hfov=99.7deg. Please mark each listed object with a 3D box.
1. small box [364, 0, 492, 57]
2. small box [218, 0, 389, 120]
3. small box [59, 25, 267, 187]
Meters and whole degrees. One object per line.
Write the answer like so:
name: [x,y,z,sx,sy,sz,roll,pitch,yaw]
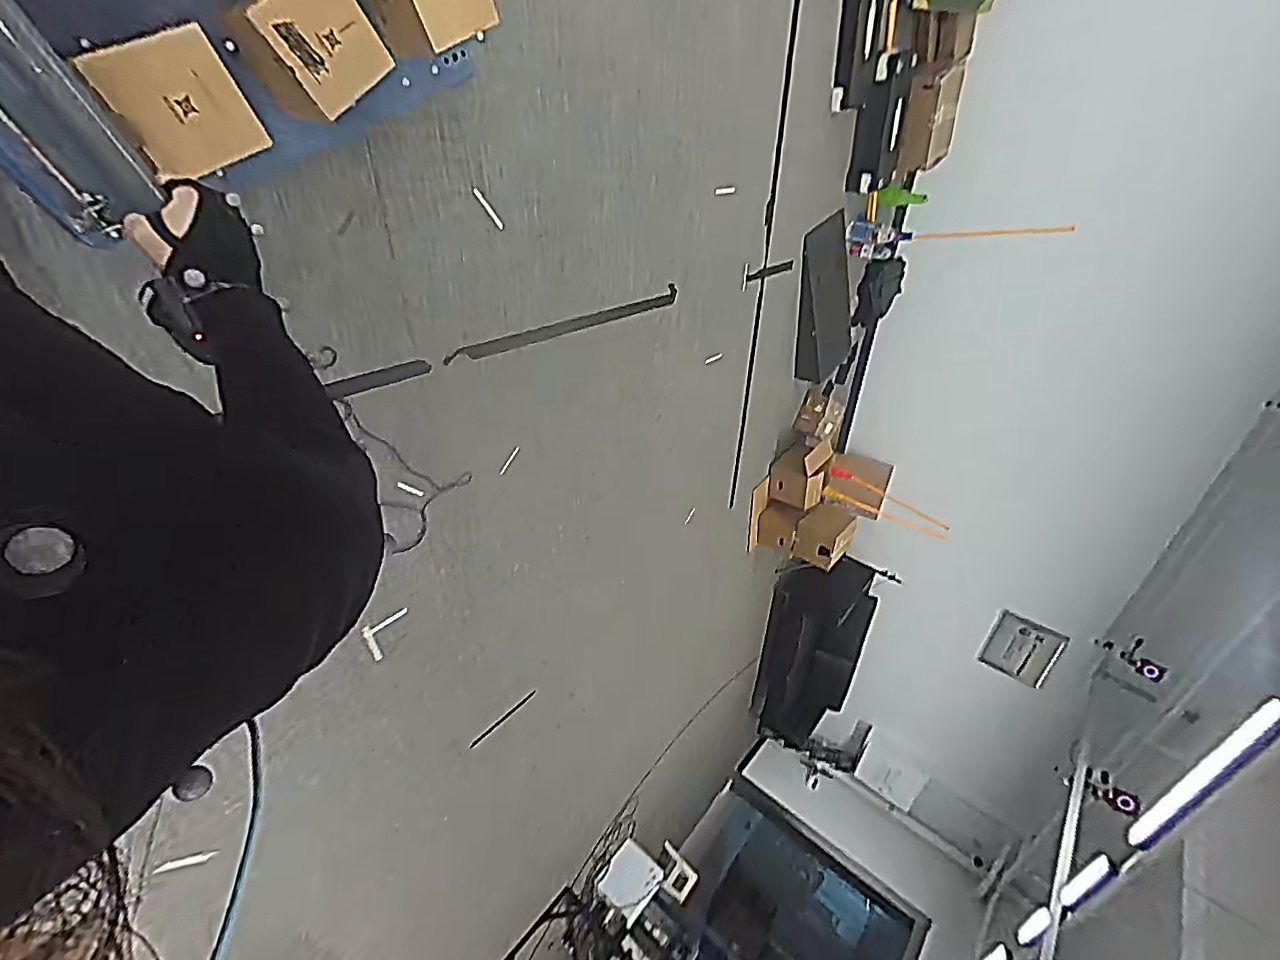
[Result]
small box: [-0.433,-0.960,1.058,0.179,0.176,0.168,-49,144,-22]
small box: [-0.597,-0.768,0.956,0.179,0.176,0.168,-55,146,-16]
small box: [-0.755,-0.589,0.858,0.179,0.176,0.168,-47,144,-26]
